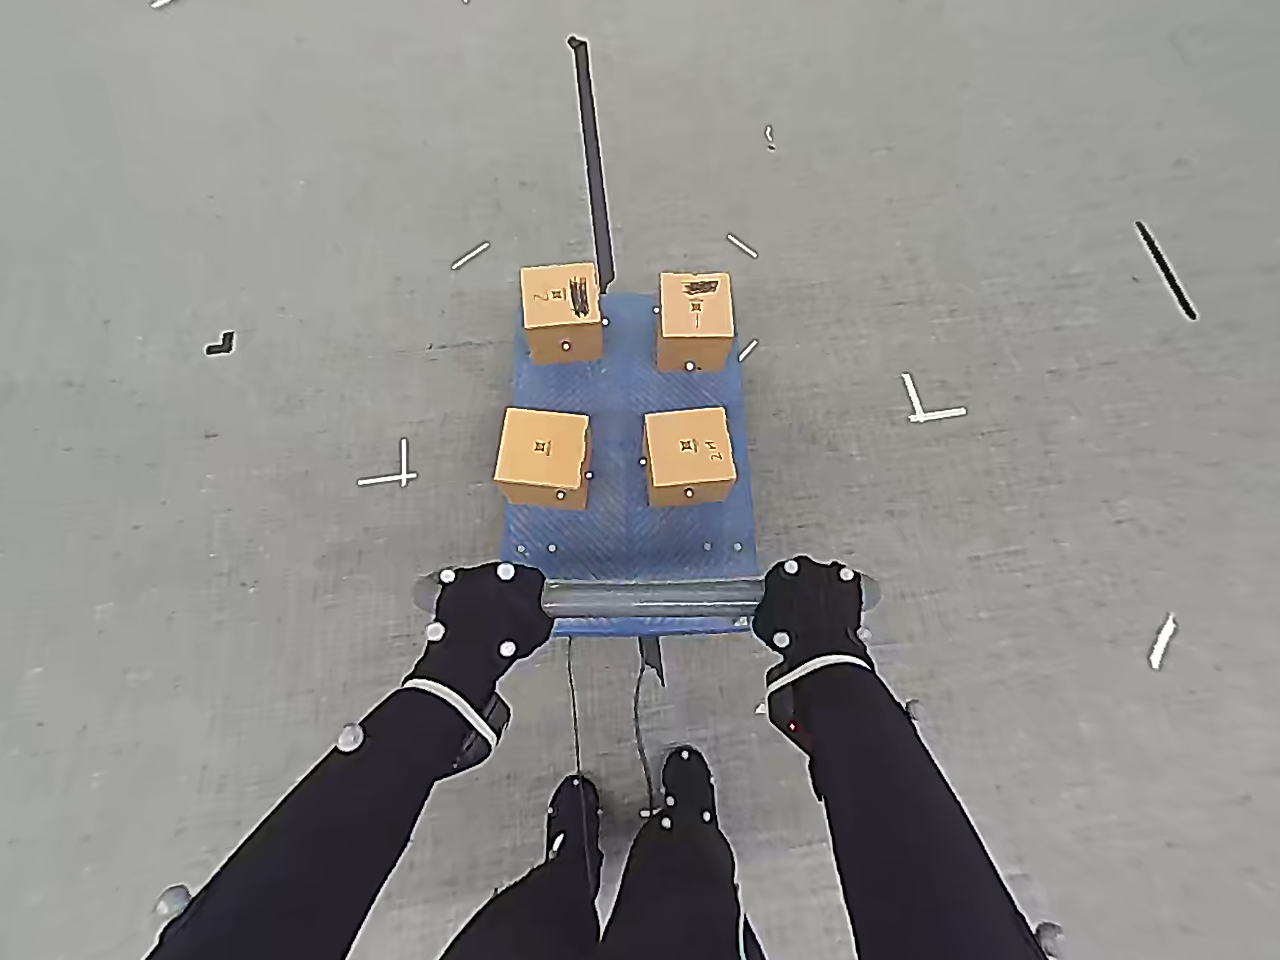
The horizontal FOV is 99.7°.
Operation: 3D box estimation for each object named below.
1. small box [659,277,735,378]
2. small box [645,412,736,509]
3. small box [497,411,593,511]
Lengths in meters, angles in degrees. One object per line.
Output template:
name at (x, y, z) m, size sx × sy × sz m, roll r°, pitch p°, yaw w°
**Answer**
small box at (0.133, -0.371, 1.327) m, size 0.168 × 0.176 × 0.179 m, roll 0°, pitch 72°, yaw -2°
small box at (0.104, -0.038, 1.214) m, size 0.179 × 0.176 × 0.168 m, roll -5°, pitch 72°, yaw -4°
small box at (-0.202, -0.036, 1.203) m, size 0.179 × 0.176 × 0.168 m, roll 6°, pitch 71°, yaw -1°
